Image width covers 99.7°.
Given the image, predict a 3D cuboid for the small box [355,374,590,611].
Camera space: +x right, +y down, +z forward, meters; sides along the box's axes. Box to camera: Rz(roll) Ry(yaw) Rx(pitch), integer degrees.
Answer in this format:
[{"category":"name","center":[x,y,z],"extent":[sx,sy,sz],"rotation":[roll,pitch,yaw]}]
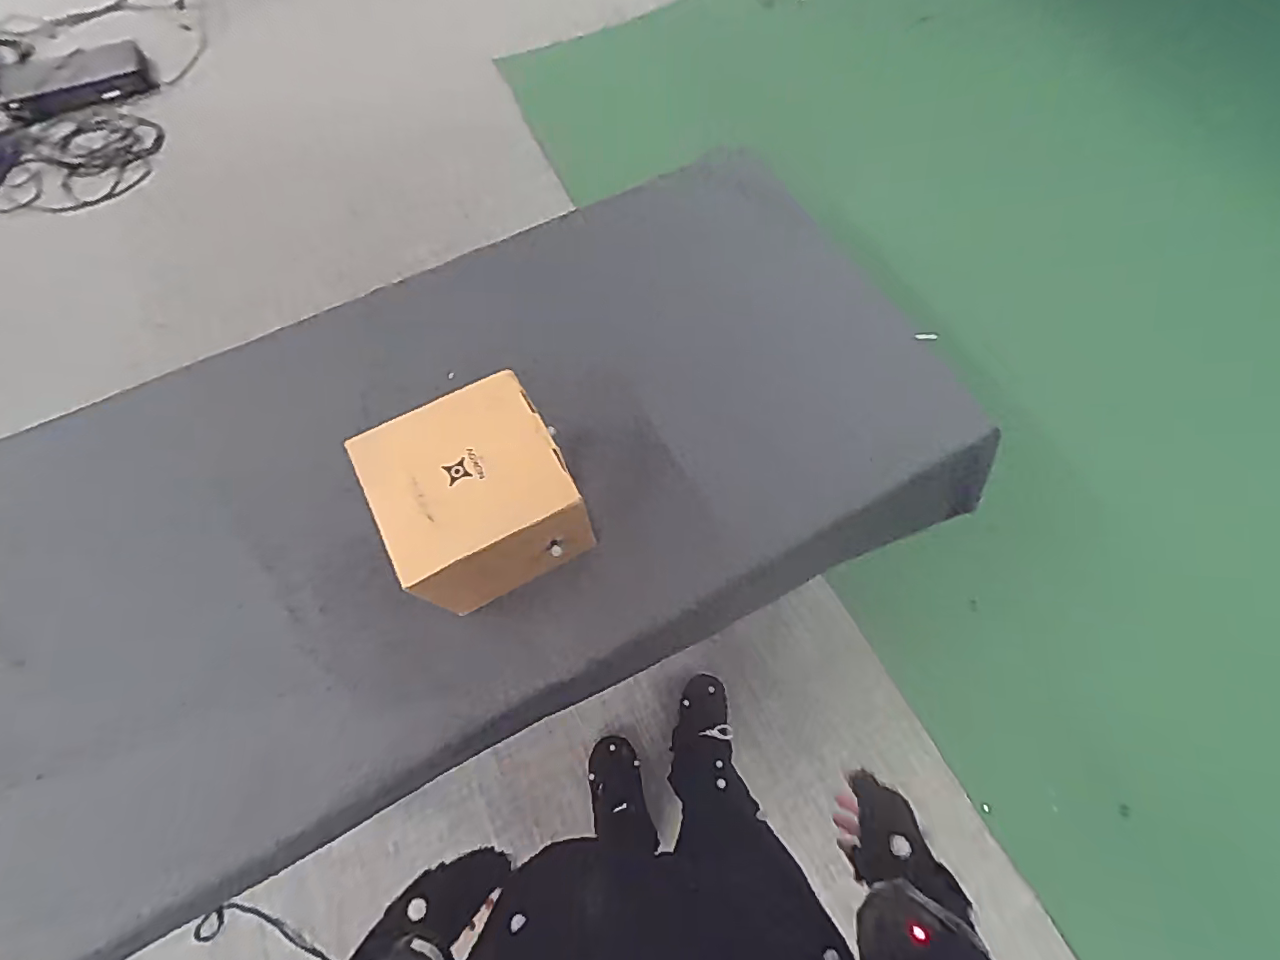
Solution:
[{"category":"small box","center":[-0.165,0.023,0.591],"extent":[0.179,0.176,0.168],"rotation":[-29,70,-10]}]
